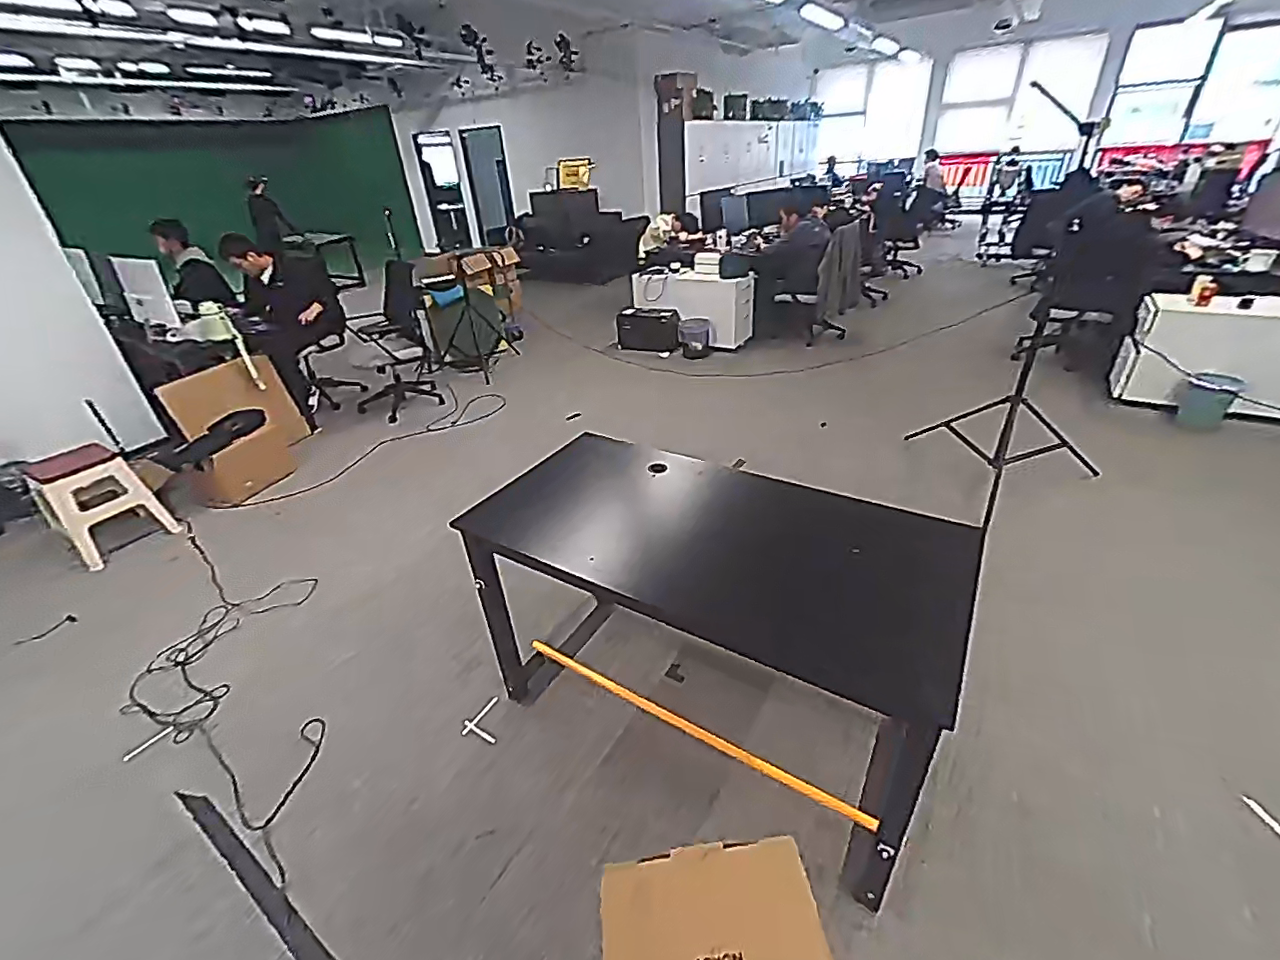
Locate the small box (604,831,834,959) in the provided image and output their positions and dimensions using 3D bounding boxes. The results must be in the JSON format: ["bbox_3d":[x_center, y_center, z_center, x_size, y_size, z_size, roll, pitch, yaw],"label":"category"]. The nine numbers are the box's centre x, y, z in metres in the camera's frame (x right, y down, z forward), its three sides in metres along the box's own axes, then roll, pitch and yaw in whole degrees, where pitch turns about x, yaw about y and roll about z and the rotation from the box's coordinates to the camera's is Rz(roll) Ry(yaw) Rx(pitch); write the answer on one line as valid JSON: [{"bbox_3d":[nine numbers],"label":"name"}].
[{"bbox_3d":[0.062,0.418,0.427,0.168,0.176,0.179,-7,36,-4],"label":"small box"}]
